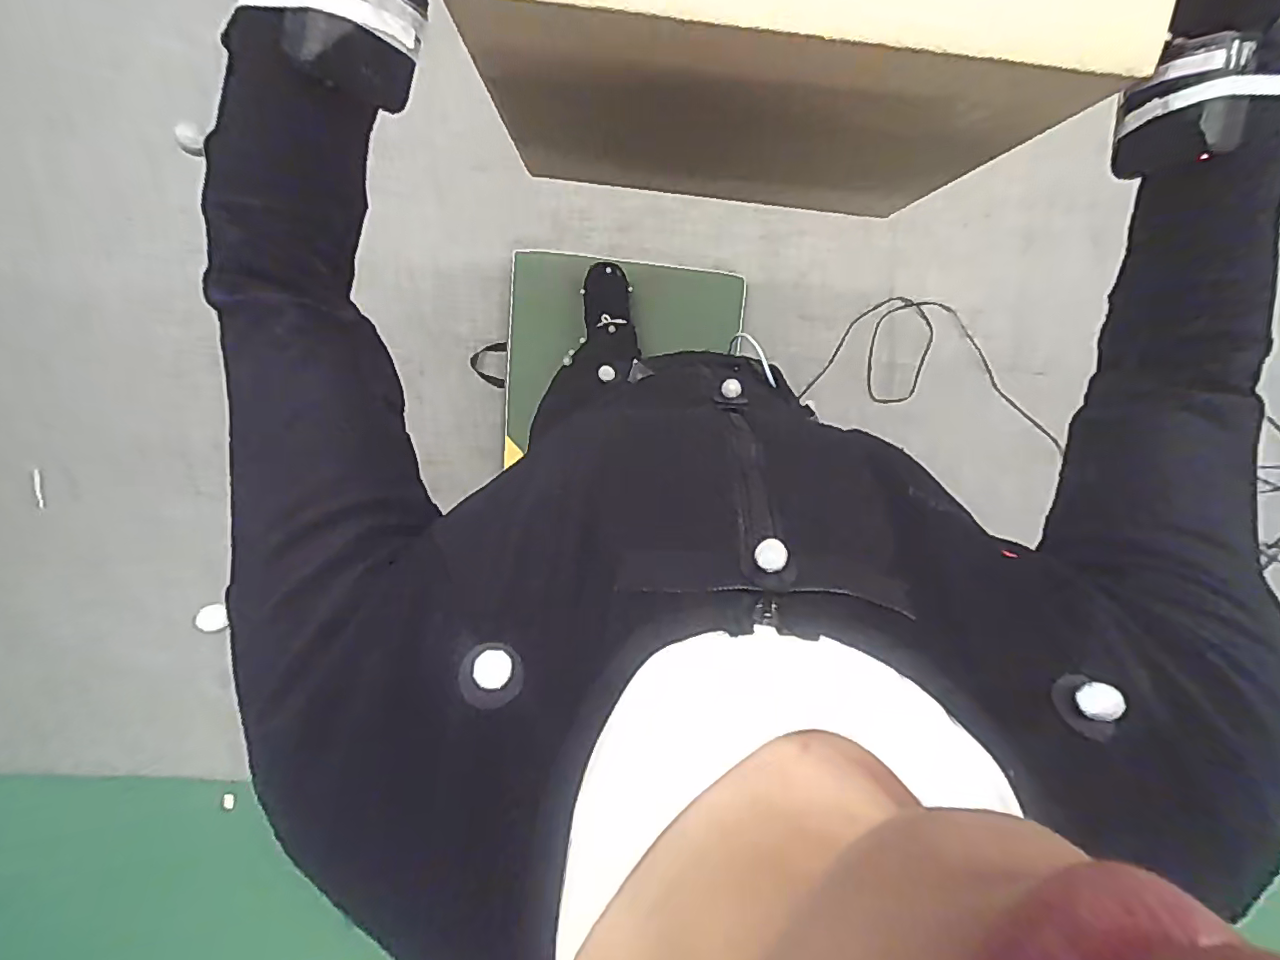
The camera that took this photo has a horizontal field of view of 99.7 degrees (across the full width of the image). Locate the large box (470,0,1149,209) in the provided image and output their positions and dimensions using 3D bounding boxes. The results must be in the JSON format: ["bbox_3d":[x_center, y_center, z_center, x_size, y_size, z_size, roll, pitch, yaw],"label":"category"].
[{"bbox_3d":[0.097,-0.435,0.424,0.408,0.320,0.320,4,102,-4],"label":"large box"}]
